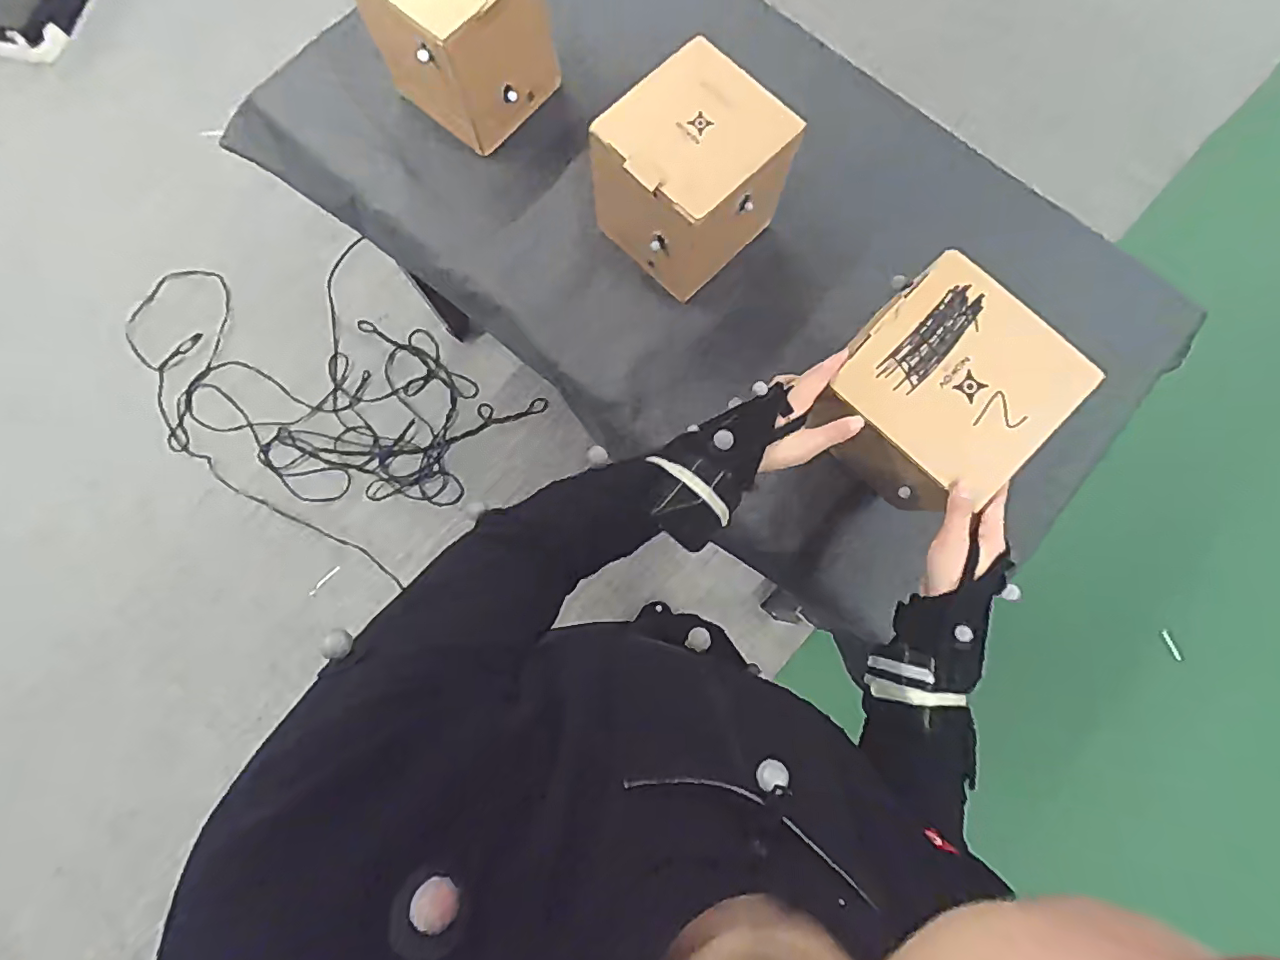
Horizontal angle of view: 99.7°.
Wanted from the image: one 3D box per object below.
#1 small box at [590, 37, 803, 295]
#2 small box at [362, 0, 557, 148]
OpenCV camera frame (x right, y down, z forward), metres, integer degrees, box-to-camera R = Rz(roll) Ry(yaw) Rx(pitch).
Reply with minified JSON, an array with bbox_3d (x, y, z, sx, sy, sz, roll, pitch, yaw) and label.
[{"bbox_3d":[0.061,-0.366,0.660,0.168,0.176,0.179,45,81,7],"label":"small box"},{"bbox_3d":[-0.230,-0.585,0.703,0.179,0.176,0.168,39,81,6],"label":"small box"}]
